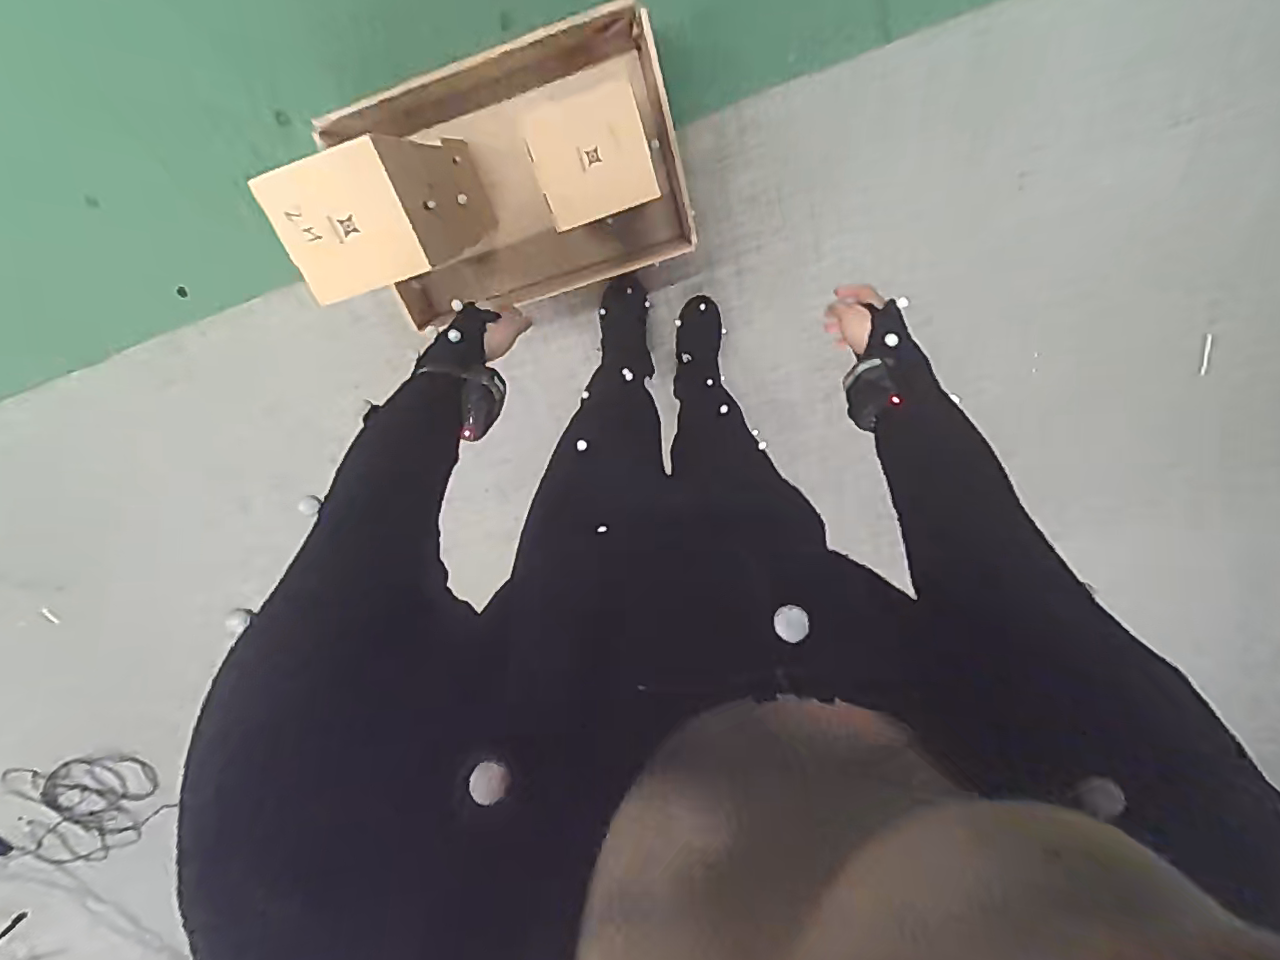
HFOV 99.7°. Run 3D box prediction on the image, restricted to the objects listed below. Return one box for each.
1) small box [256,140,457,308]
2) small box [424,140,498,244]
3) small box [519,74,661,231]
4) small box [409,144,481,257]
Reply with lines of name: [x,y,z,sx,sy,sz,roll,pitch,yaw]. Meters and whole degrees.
small box: [-0.384,-0.370,0.779,0.179,0.176,0.168,-15,119,8]
small box: [-0.398,-0.543,1.059,0.168,0.176,0.179,-16,120,8]
small box: [-0.070,-0.527,0.882,0.179,0.176,0.168,-16,121,10]
small box: [-0.398,-0.452,0.922,0.179,0.176,0.168,-15,120,7]
